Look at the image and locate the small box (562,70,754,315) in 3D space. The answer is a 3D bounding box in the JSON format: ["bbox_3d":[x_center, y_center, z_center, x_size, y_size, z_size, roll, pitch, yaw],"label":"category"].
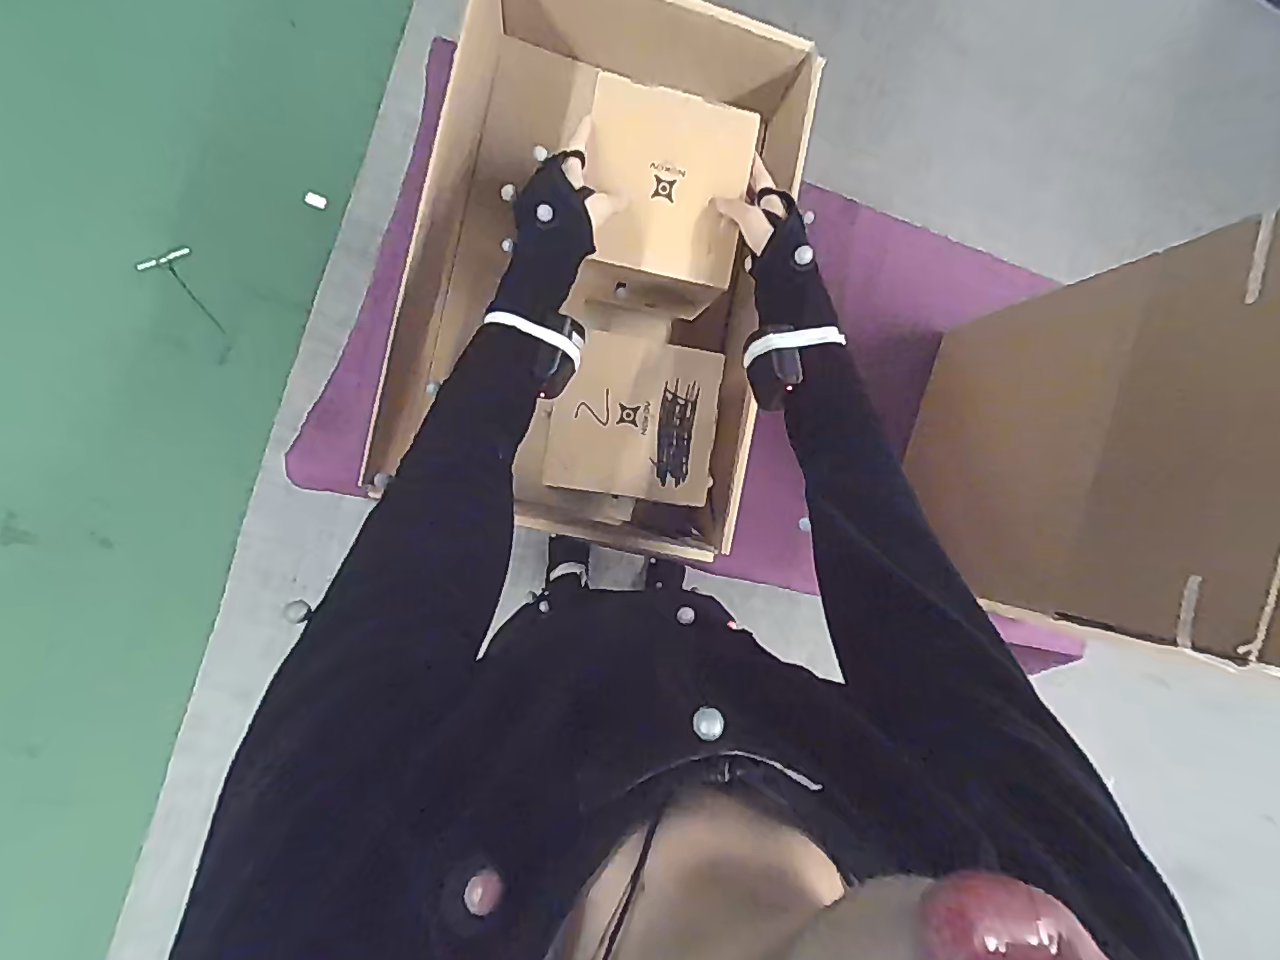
[{"bbox_3d":[0.011,-0.301,0.610,0.168,0.176,0.179,10,93,-7],"label":"small box"}]
